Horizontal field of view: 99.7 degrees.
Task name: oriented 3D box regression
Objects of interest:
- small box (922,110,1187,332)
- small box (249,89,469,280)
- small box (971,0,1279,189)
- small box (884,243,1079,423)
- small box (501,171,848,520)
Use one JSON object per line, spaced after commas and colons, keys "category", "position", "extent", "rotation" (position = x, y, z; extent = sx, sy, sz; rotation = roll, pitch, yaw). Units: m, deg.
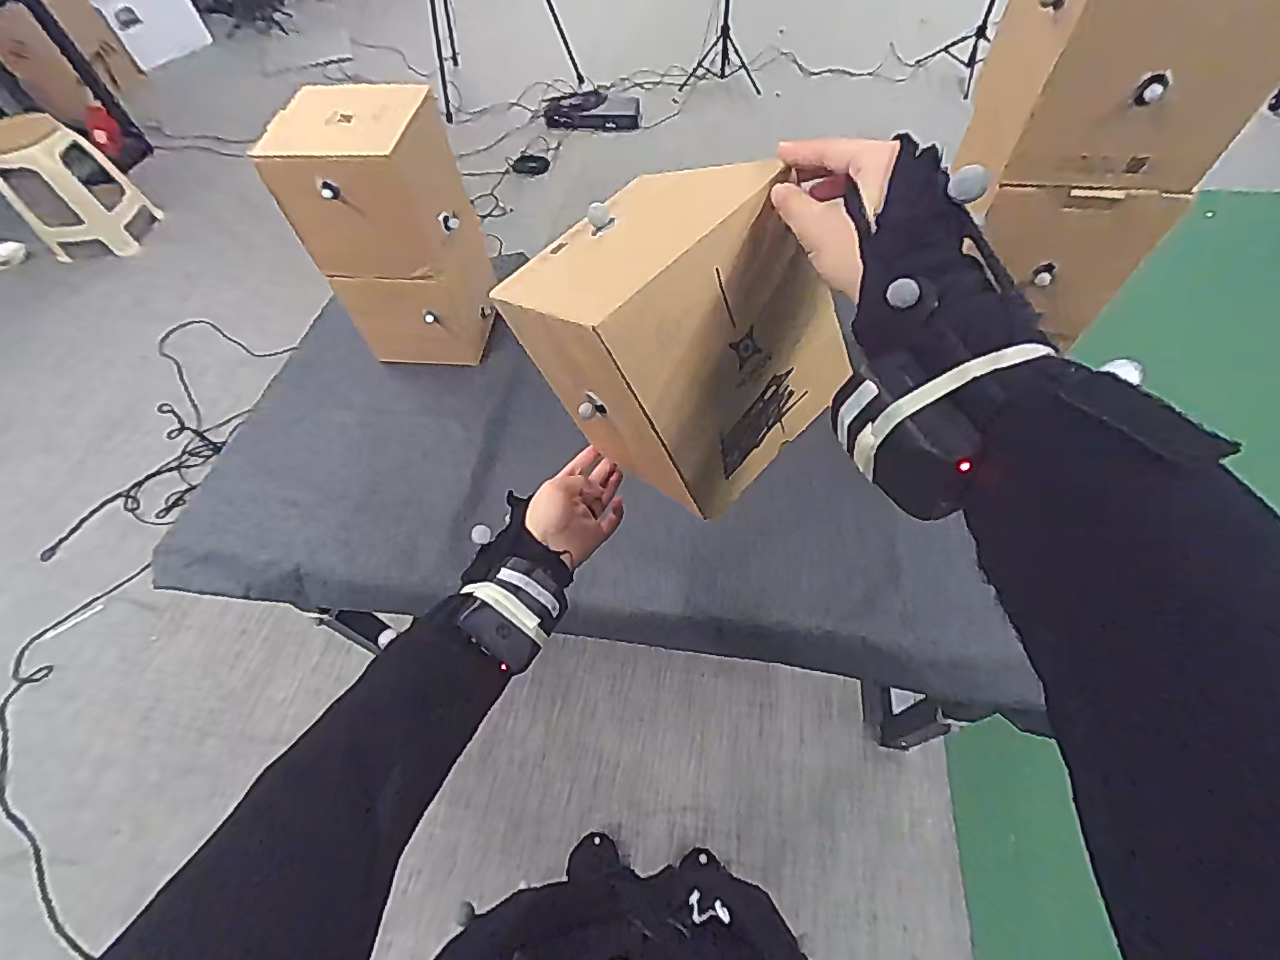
{"category": "small box", "position": [0.435, -0.289, 0.607], "extent": [0.168, 0.176, 0.179], "rotation": [8, 59, 9]}
{"category": "small box", "position": [-0.353, -0.387, 0.720], "extent": [0.179, 0.176, 0.168], "rotation": [3, 59, 4]}
{"category": "small box", "position": [0.418, -0.378, 0.468], "extent": [0.168, 0.176, 0.179], "rotation": [7, 58, 8]}
{"category": "small box", "position": [0.448, -0.205, 0.746], "extent": [0.168, 0.176, 0.179], "rotation": [8, 59, 9]}
{"category": "small box", "position": [0.026, -0.107, 0.418], "extent": [0.168, 0.179, 0.176], "rotation": [-43, 38, -12]}
